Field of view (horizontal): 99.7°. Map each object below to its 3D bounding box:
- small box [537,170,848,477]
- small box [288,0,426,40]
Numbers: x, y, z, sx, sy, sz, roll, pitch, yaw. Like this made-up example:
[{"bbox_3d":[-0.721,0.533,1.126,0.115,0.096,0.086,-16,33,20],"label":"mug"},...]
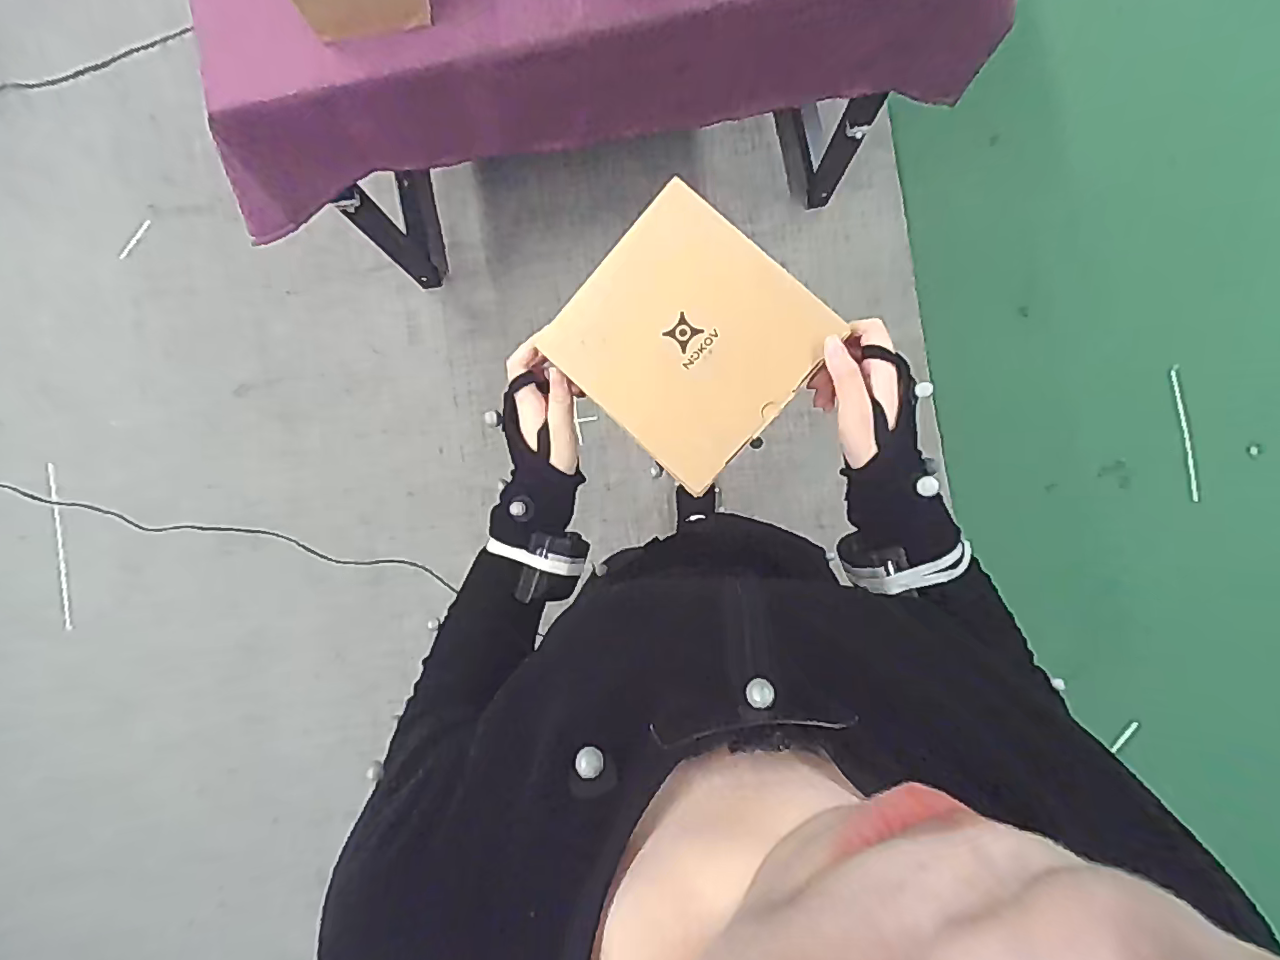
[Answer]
[{"bbox_3d":[0.044,-0.118,0.483,0.179,0.176,0.168,42,97,3],"label":"small box"},{"bbox_3d":[-0.420,-0.755,0.744,0.179,0.176,0.168,-8,88,0],"label":"small box"}]
